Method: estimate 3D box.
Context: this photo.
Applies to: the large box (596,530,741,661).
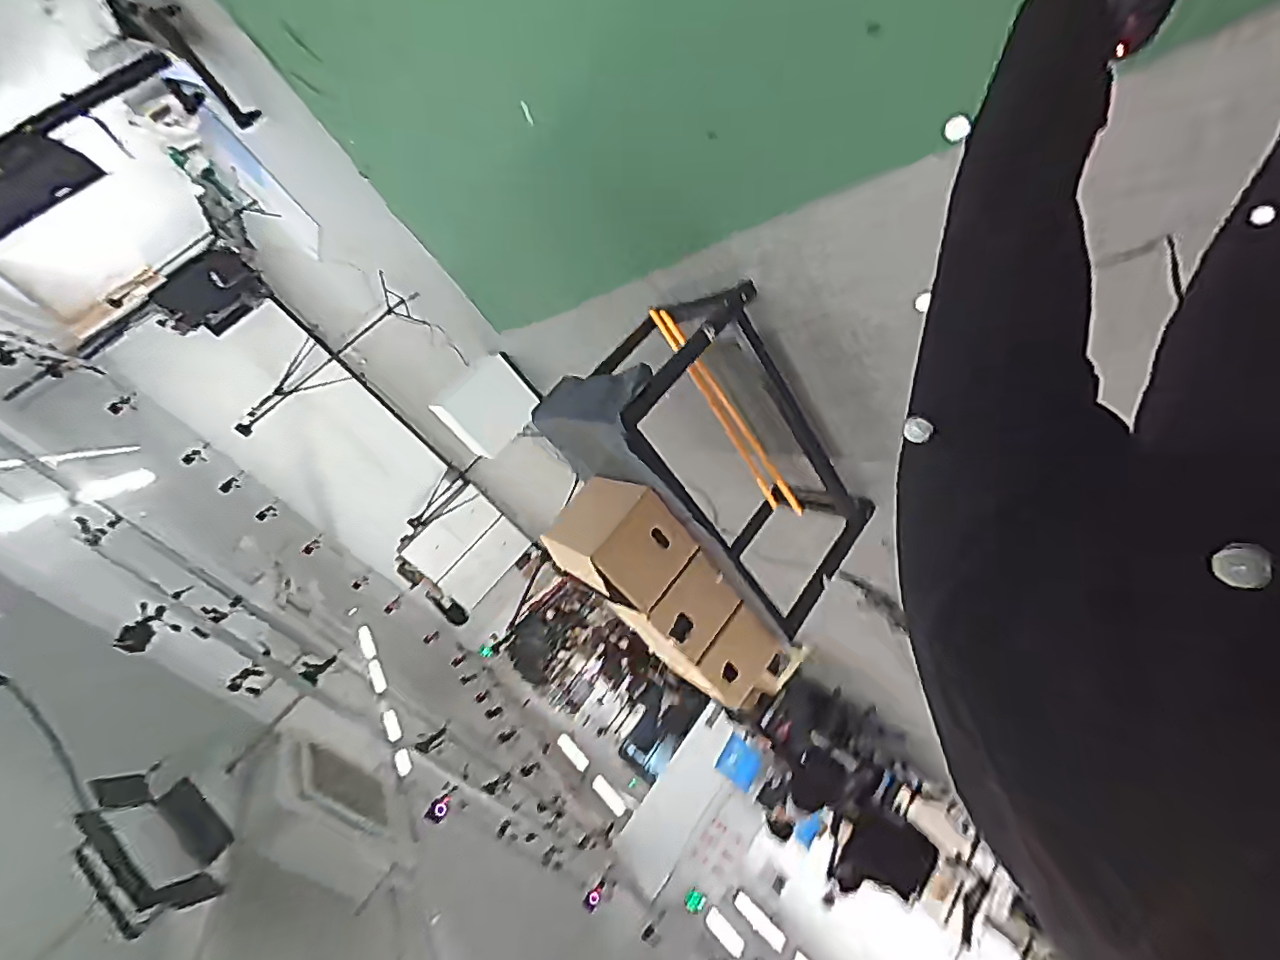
[{"bbox_3d":[0.104,0.424,2.079,0.320,0.320,0.408,50,159,-25],"label":"large box"}]
